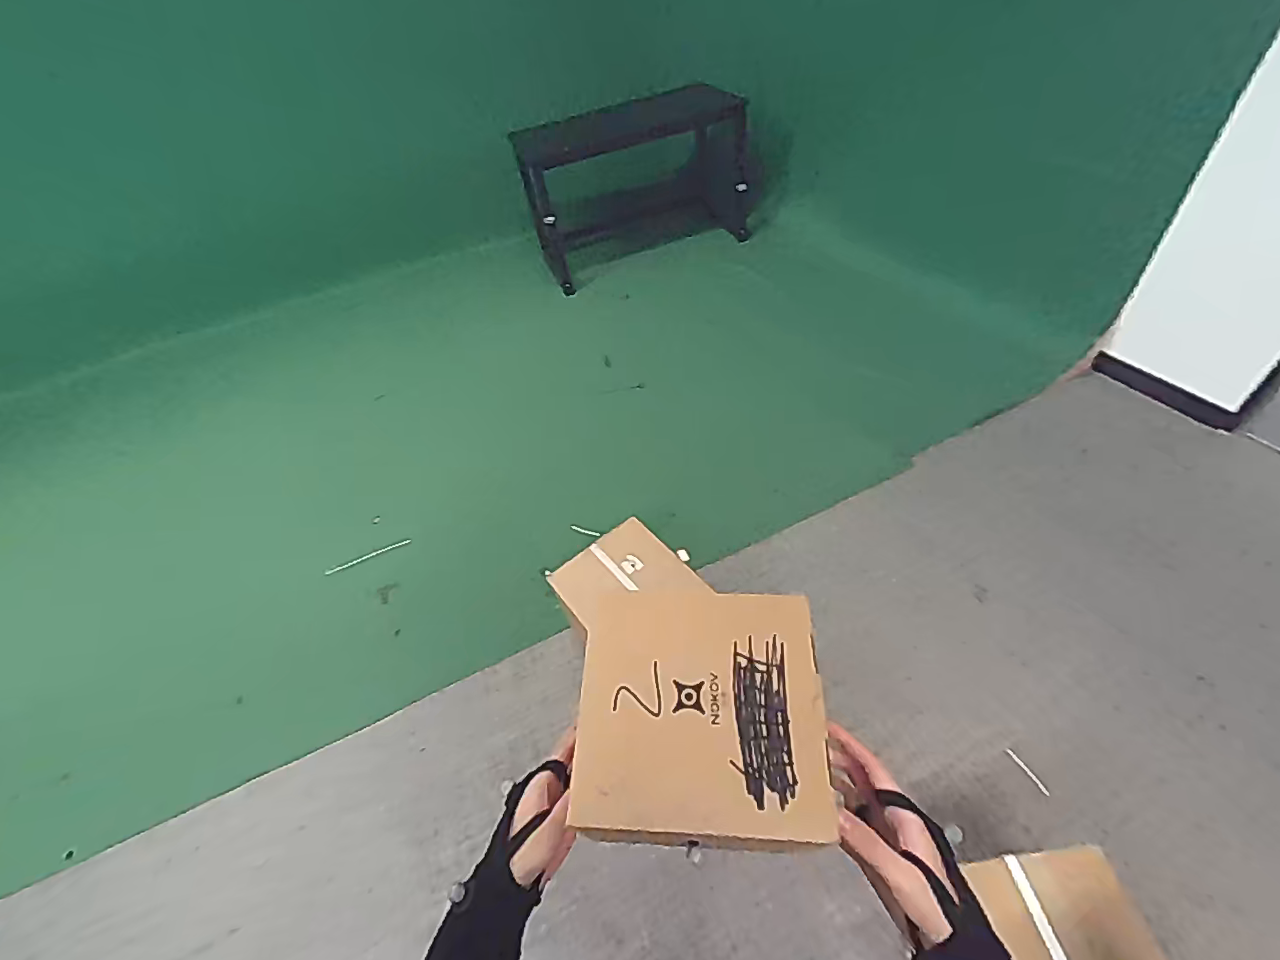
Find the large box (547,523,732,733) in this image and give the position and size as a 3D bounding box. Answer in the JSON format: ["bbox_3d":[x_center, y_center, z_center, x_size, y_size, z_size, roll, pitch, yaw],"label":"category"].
[{"bbox_3d":[0.006,0.404,1.510,0.320,0.320,0.408,-33,49,-21],"label":"large box"}]
